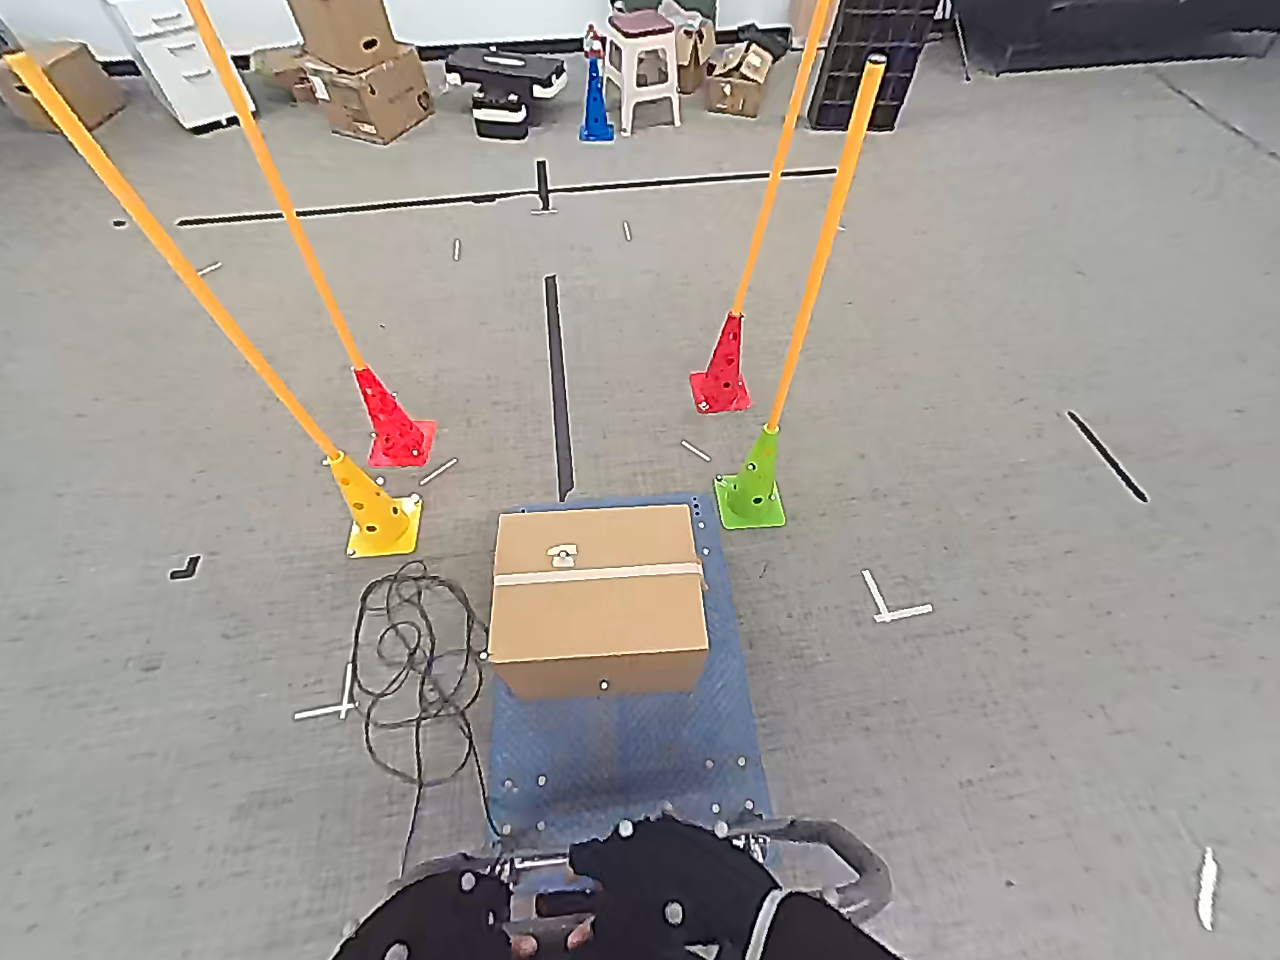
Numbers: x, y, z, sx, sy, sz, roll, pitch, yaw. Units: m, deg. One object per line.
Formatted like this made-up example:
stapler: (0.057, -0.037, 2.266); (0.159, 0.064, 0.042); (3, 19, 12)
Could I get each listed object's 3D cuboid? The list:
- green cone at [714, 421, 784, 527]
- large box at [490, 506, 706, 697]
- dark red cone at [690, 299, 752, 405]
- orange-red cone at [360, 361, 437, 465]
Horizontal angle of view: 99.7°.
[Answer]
green cone: (0.352, -0.036, 1.591); (0.202, 0.368, 0.200); (-3, 55, -4)
large box: (-0.084, 0.277, 1.192); (0.408, 0.320, 0.320); (-3, 56, -2)
dark red cone: (0.302, -0.443, 1.851); (0.201, 0.394, 0.202); (-5, 56, -7)
orange-red cone: (-0.804, -0.233, 1.713); (0.198, 0.360, 0.199); (0, 54, -2)
